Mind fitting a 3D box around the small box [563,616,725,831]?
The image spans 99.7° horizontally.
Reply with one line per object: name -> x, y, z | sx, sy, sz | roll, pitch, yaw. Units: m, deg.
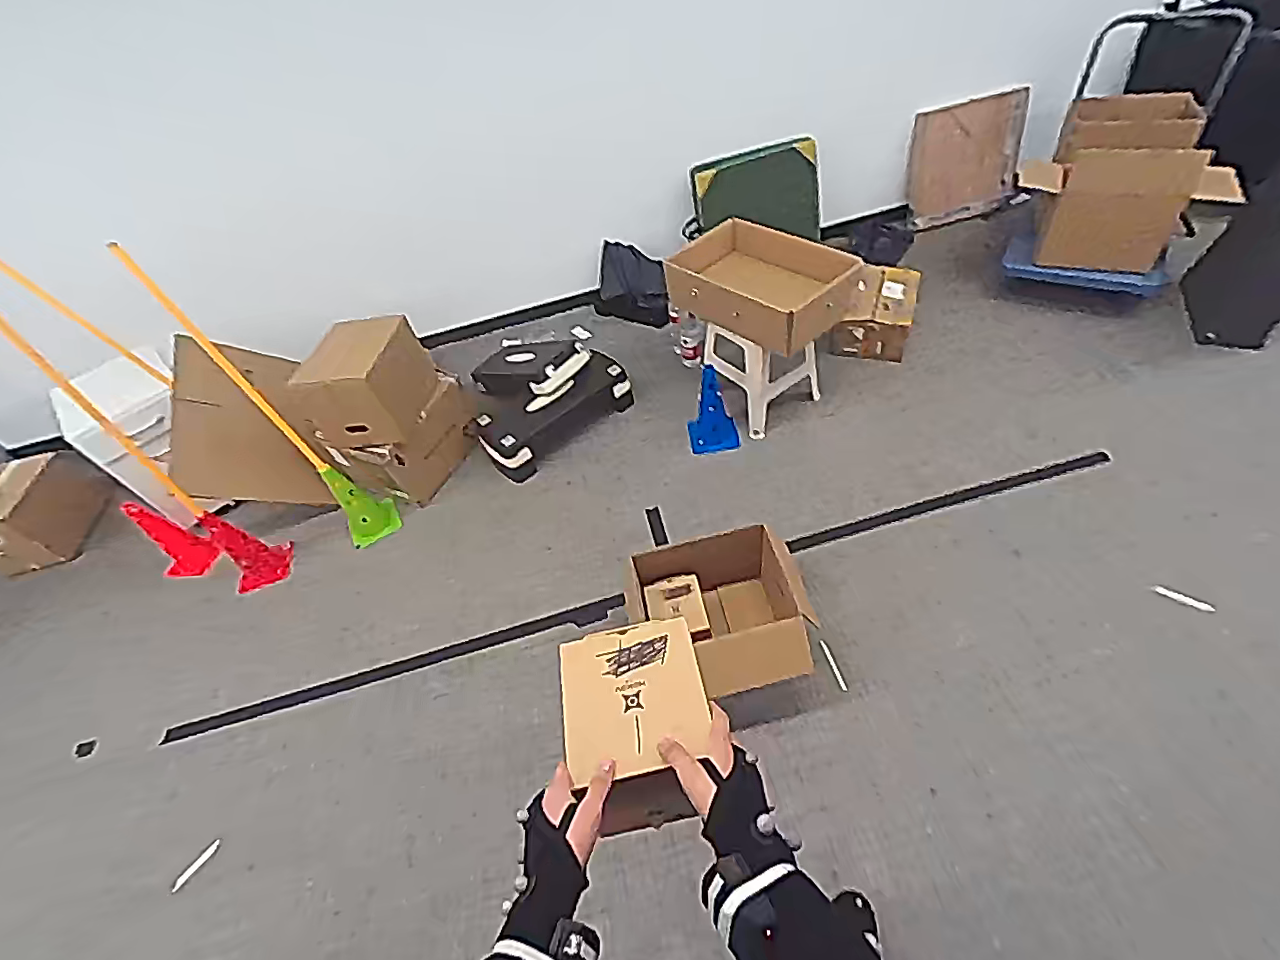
small box -> 0.004, 0.305, 0.680 | 0.168, 0.176, 0.179 | -13, 42, -1
